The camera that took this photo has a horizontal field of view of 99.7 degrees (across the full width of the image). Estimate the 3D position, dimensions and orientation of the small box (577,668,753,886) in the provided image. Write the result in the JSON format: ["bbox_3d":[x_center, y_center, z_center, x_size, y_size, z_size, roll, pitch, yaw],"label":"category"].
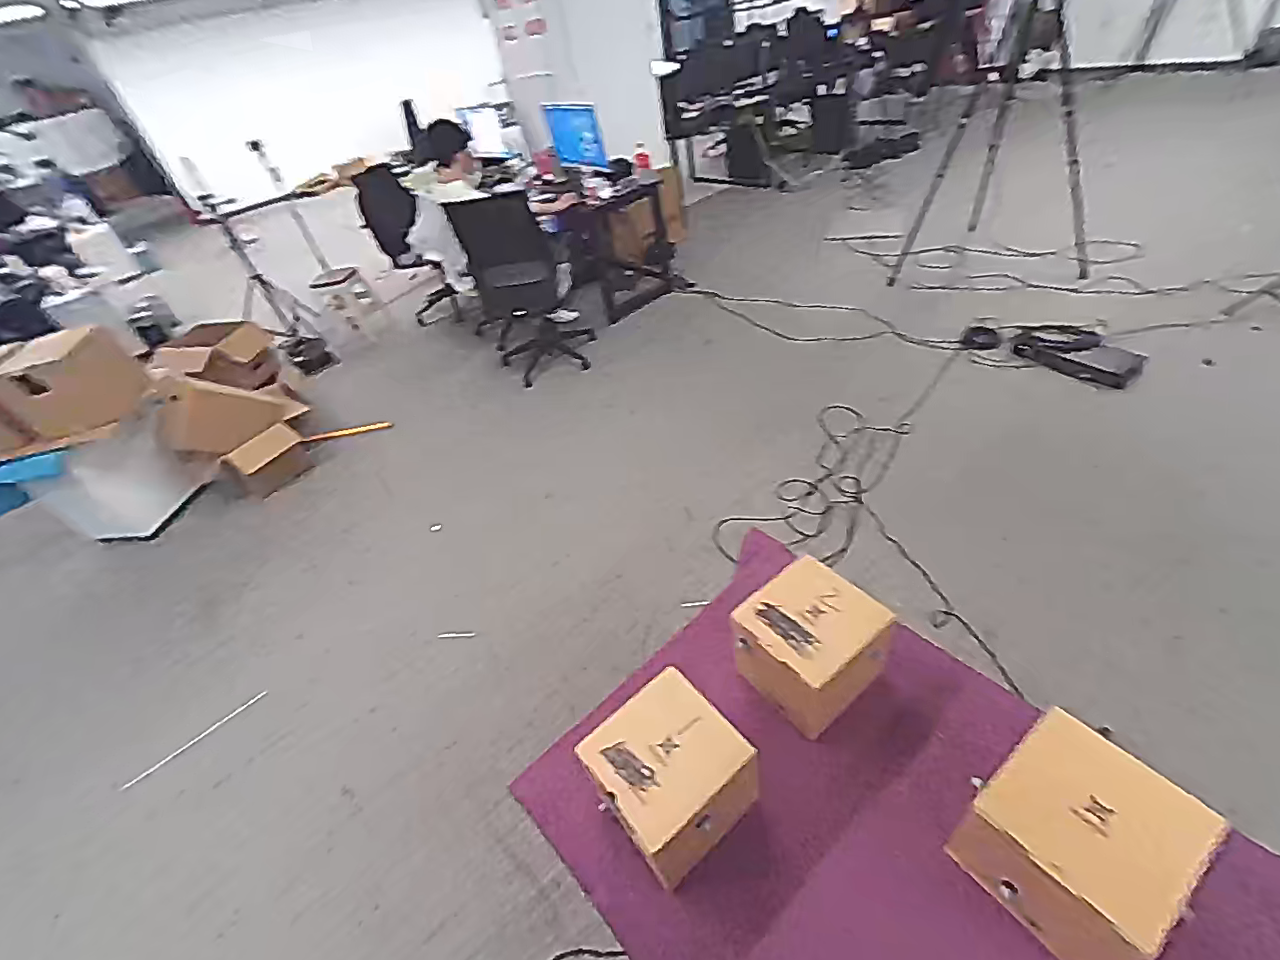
[{"bbox_3d":[0.043,0.409,0.747,0.179,0.176,0.168,-33,45,-23],"label":"small box"}]

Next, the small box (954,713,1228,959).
[{"bbox_3d":[0.500,0.419,0.627,0.179,0.176,0.168,-33,46,-20],"label":"small box"}]
